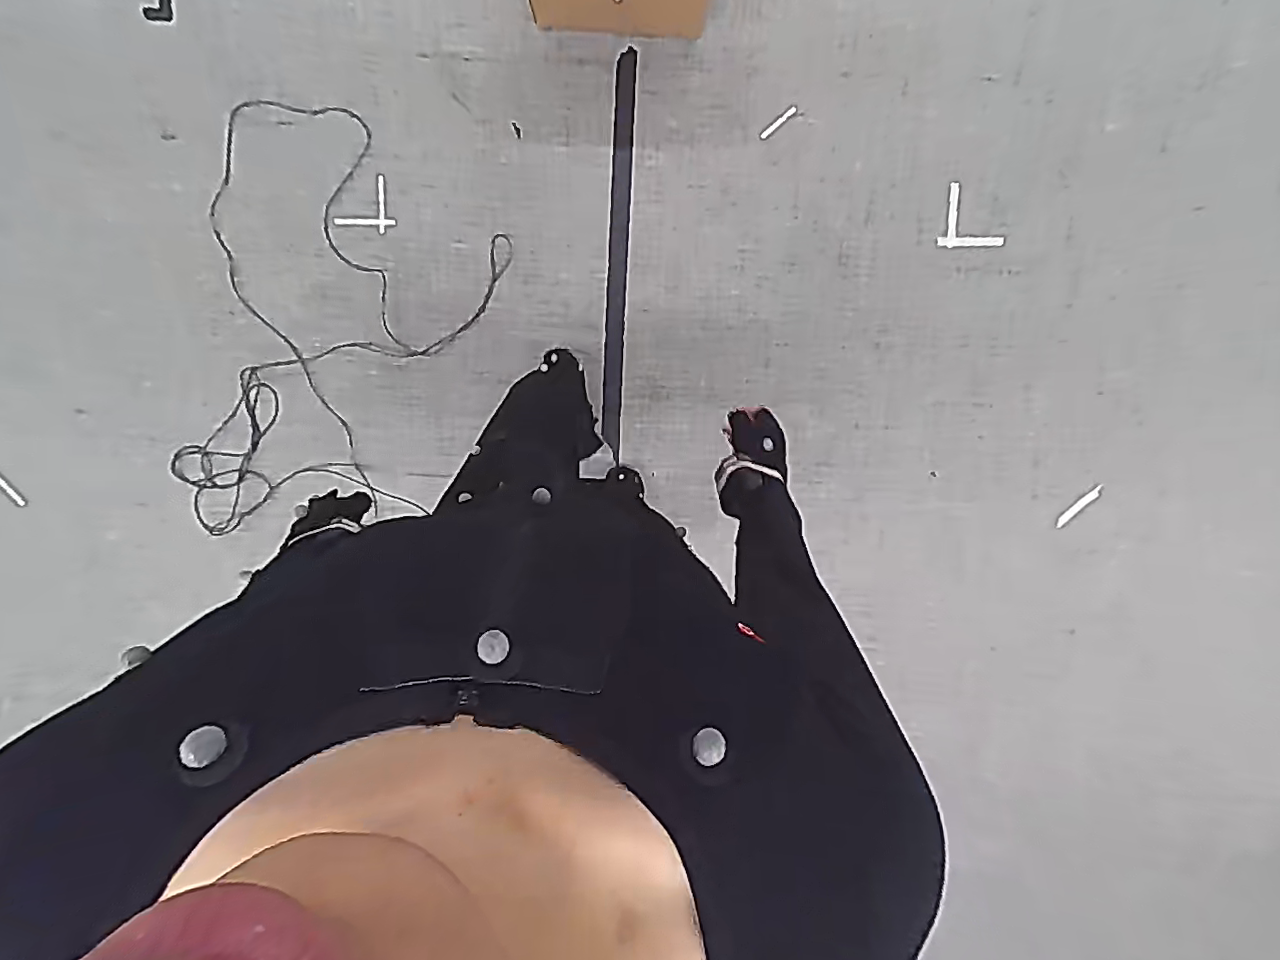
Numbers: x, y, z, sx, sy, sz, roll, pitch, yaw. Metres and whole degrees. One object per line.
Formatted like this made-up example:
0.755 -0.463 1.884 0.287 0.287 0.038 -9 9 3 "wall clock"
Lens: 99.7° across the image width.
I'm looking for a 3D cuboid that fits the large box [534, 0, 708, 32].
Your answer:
-0.041 -1.234 1.161 0.408 0.320 0.320 2 98 -1 "large box"
